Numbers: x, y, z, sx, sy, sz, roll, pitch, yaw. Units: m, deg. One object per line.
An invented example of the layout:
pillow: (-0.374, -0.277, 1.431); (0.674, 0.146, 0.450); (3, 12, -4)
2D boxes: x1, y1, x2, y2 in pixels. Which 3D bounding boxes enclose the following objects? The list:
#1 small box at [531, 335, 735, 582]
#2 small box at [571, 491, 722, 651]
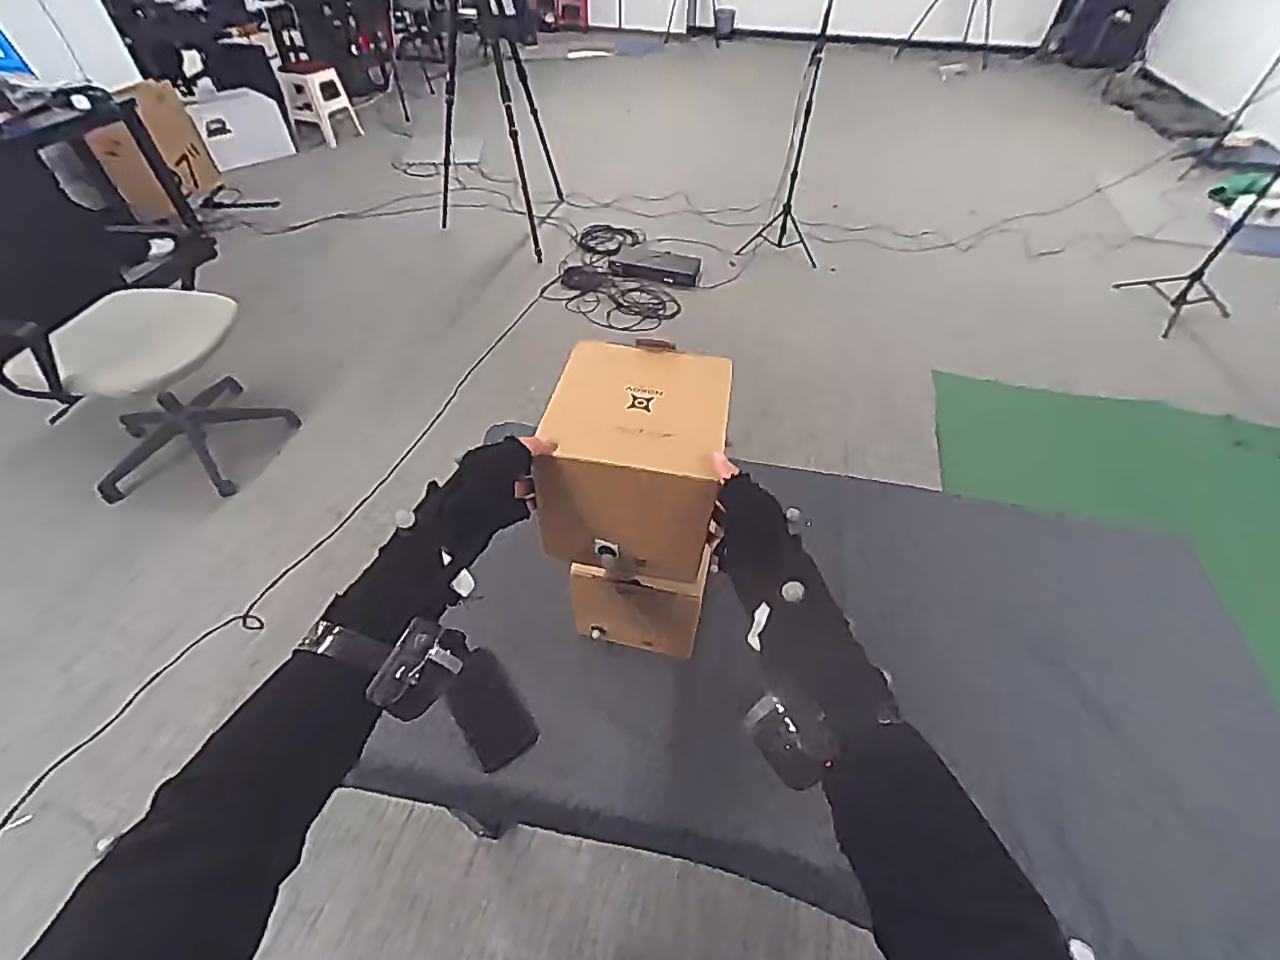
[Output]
small box: (-0.002, -0.022, 0.562); (0.168, 0.176, 0.179); (9, 50, 5)
small box: (0.014, 0.115, 0.761); (0.168, 0.176, 0.179); (11, 48, 8)
